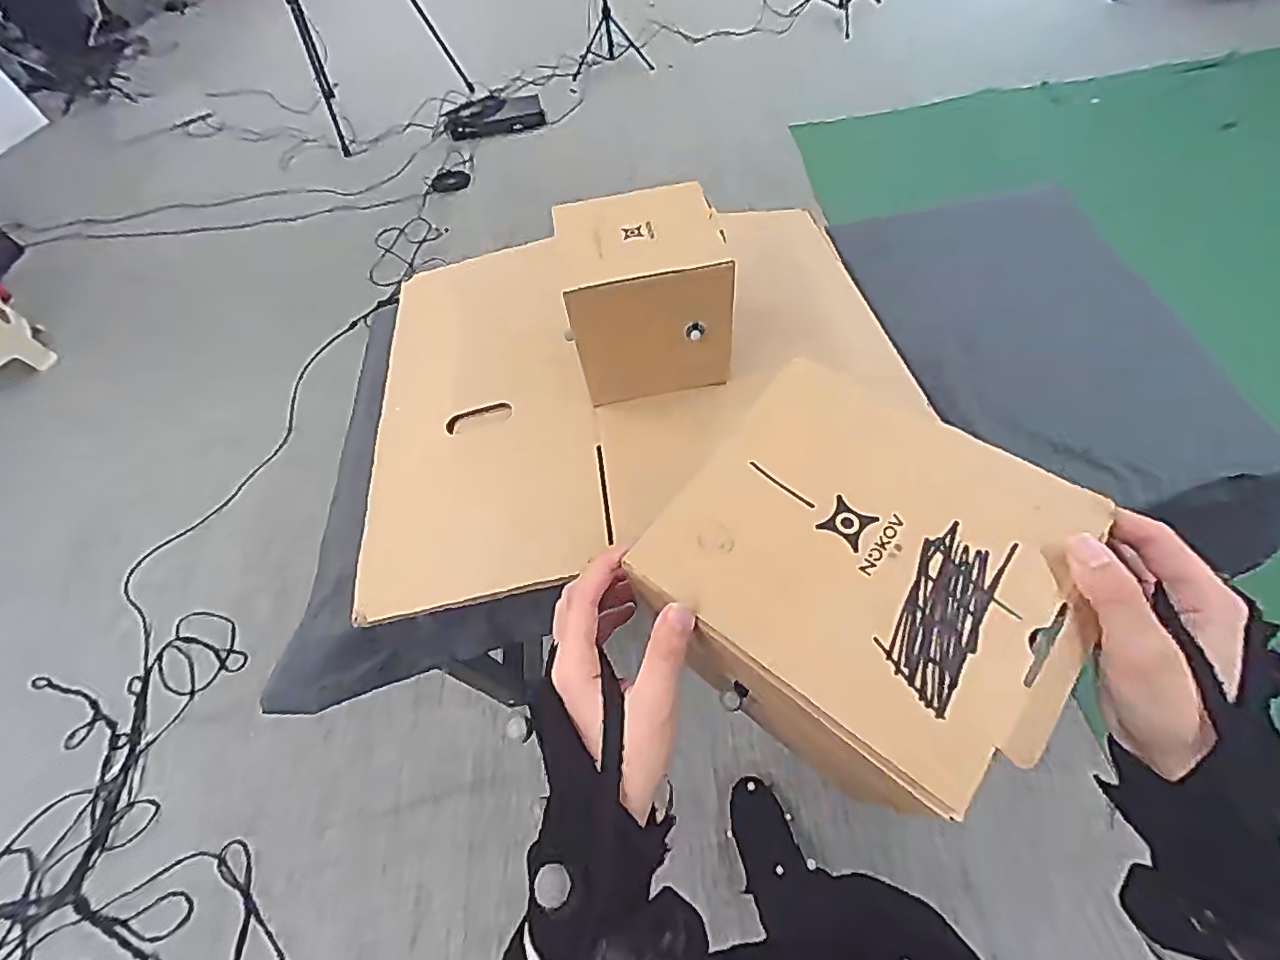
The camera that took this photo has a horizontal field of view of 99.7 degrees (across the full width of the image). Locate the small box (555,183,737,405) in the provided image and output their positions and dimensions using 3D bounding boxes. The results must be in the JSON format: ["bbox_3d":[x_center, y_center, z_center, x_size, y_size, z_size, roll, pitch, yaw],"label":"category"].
[{"bbox_3d":[0.006,-0.213,0.638,0.179,0.176,0.168,-11,54,0],"label":"small box"}]
